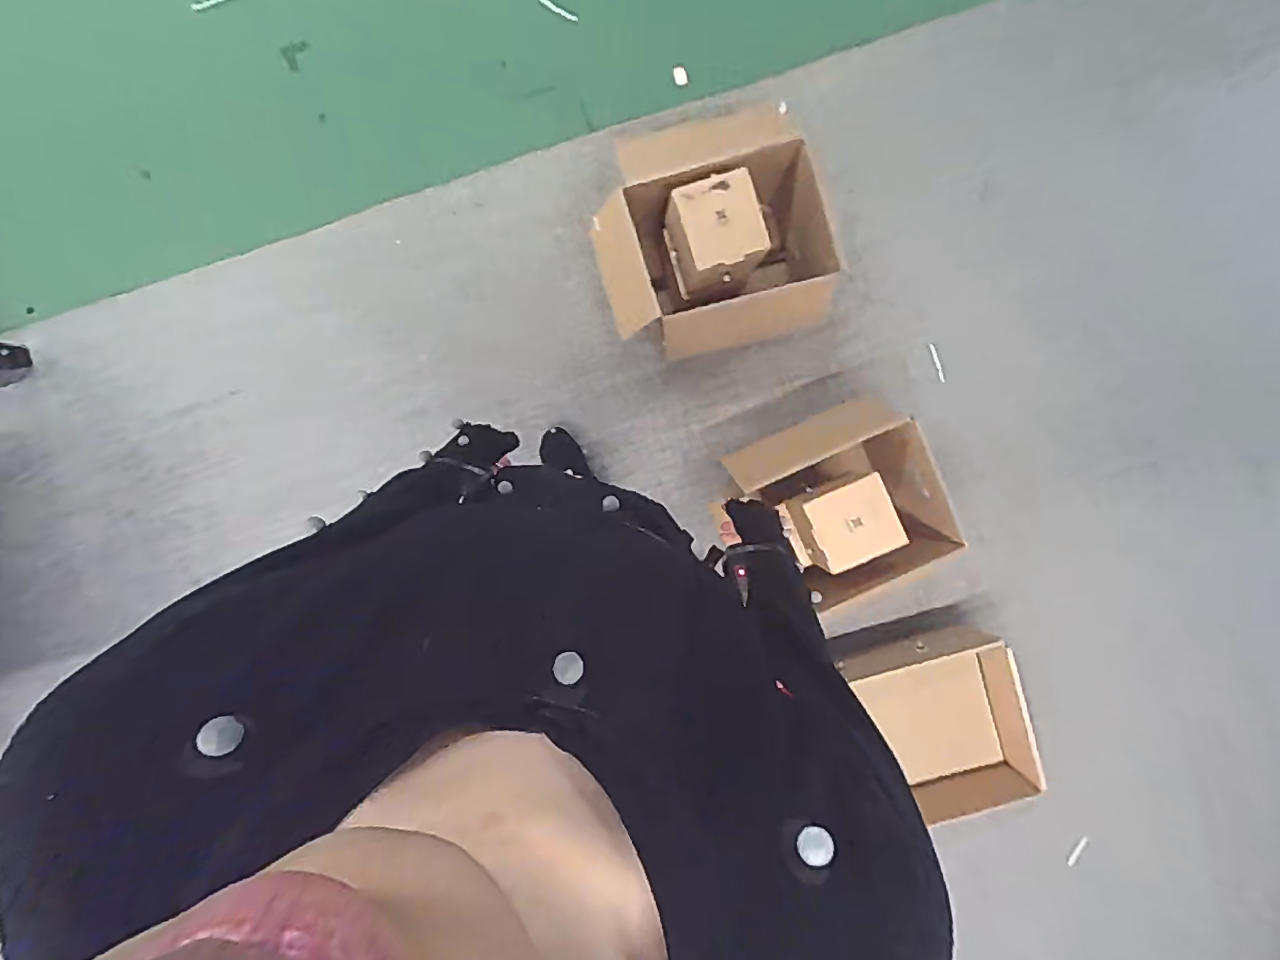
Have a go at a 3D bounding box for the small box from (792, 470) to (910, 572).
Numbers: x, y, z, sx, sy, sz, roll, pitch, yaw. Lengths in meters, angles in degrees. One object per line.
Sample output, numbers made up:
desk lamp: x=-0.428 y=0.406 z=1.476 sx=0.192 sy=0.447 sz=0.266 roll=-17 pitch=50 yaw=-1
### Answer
small box: x=0.458 y=0.085 z=1.211 sx=0.179 sy=0.176 sz=0.168 roll=-24 pitch=92 yaw=2
